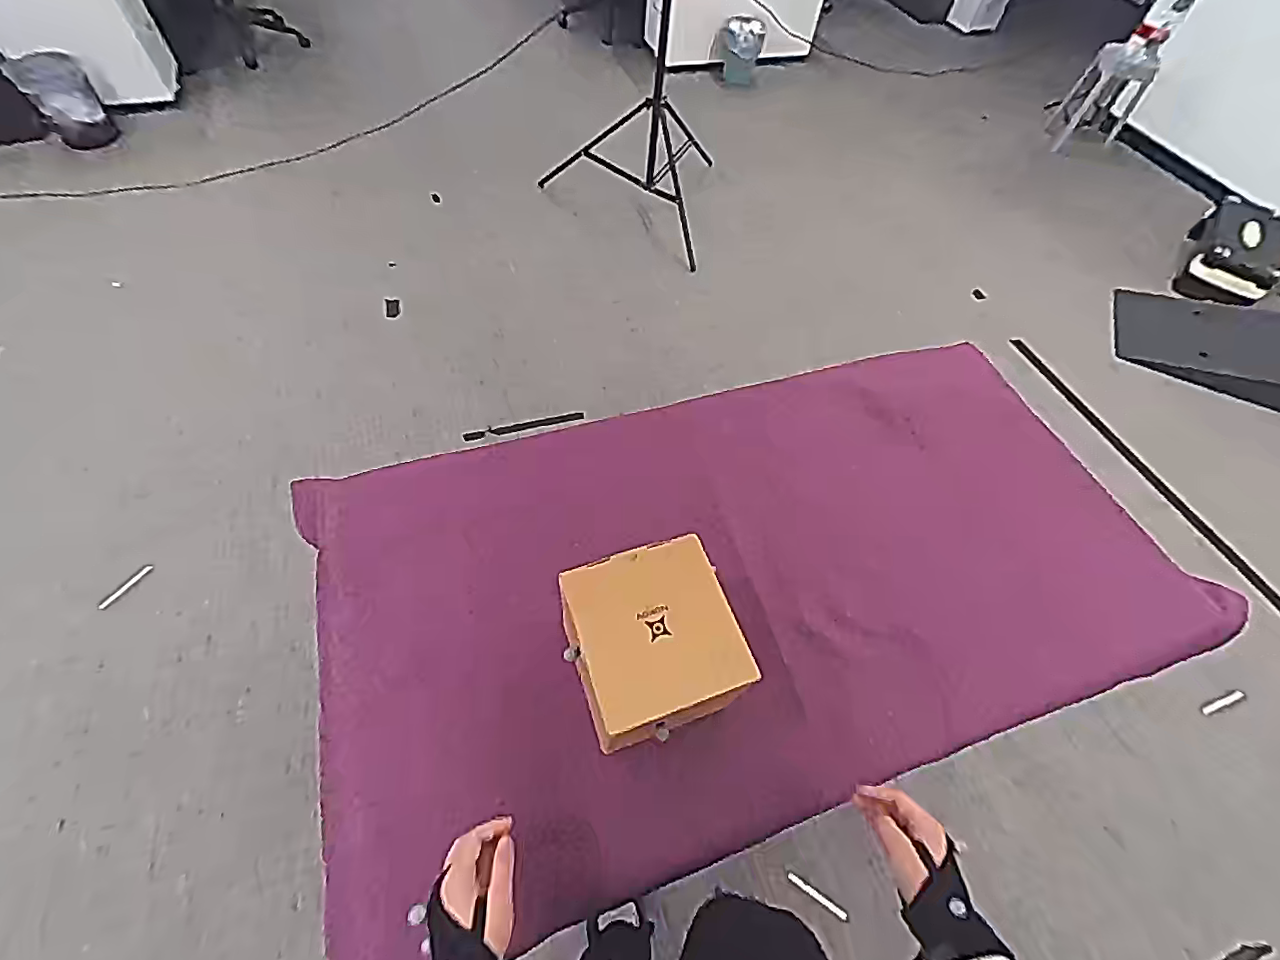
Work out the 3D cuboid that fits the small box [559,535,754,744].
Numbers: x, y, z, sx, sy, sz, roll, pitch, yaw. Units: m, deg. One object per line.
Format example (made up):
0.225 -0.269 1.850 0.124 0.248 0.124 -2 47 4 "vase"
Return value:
0.010 0.196 0.640 0.168 0.176 0.179 -15 60 -14 "small box"
